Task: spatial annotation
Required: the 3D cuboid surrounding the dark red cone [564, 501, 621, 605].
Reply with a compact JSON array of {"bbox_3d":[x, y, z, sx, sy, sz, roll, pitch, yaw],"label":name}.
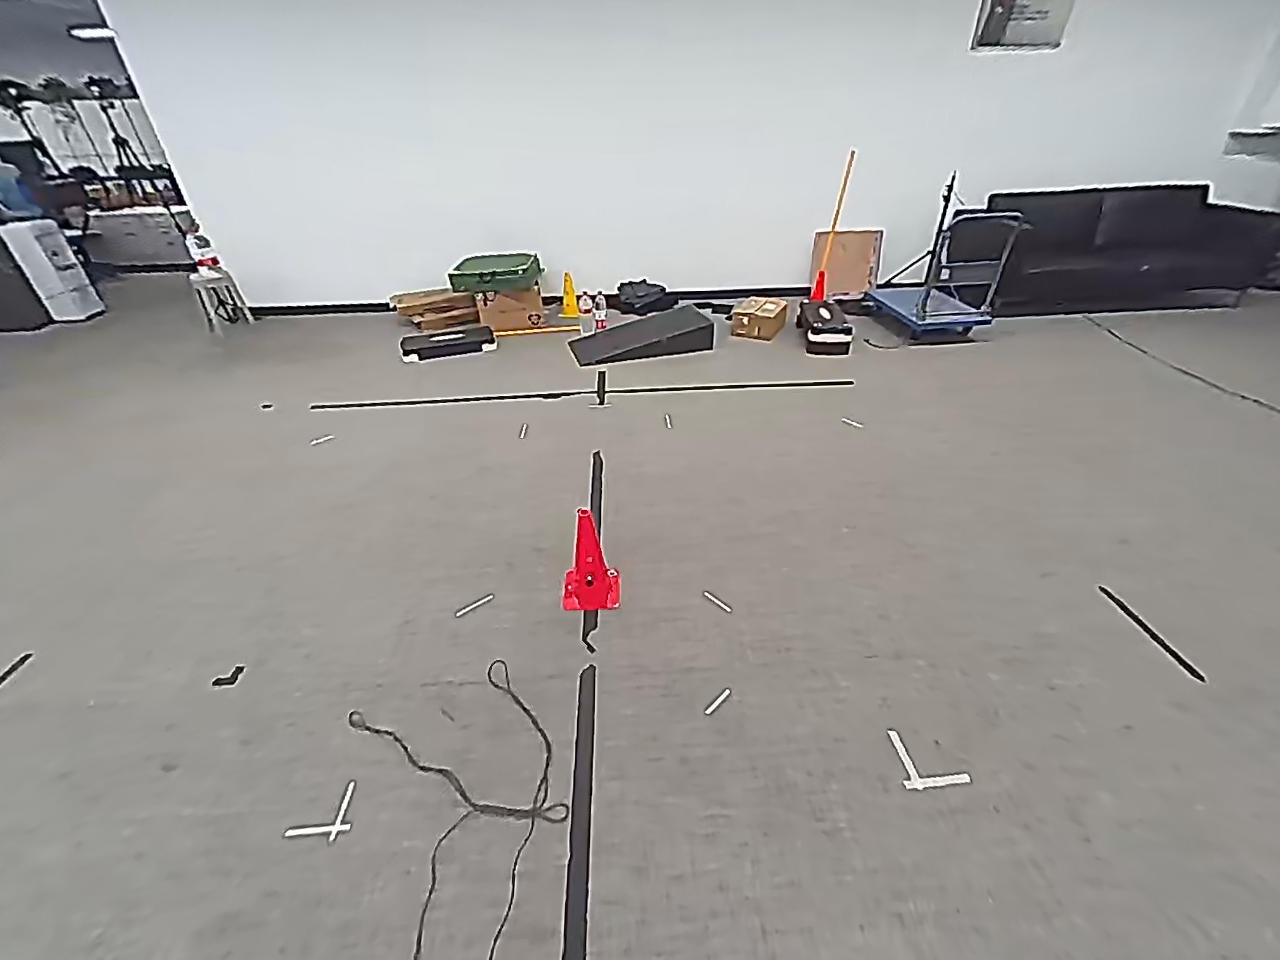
[{"bbox_3d":[-0.176,0.235,1.856,0.201,0.394,0.202,-3,34,-1],"label":"dark red cone"}]
